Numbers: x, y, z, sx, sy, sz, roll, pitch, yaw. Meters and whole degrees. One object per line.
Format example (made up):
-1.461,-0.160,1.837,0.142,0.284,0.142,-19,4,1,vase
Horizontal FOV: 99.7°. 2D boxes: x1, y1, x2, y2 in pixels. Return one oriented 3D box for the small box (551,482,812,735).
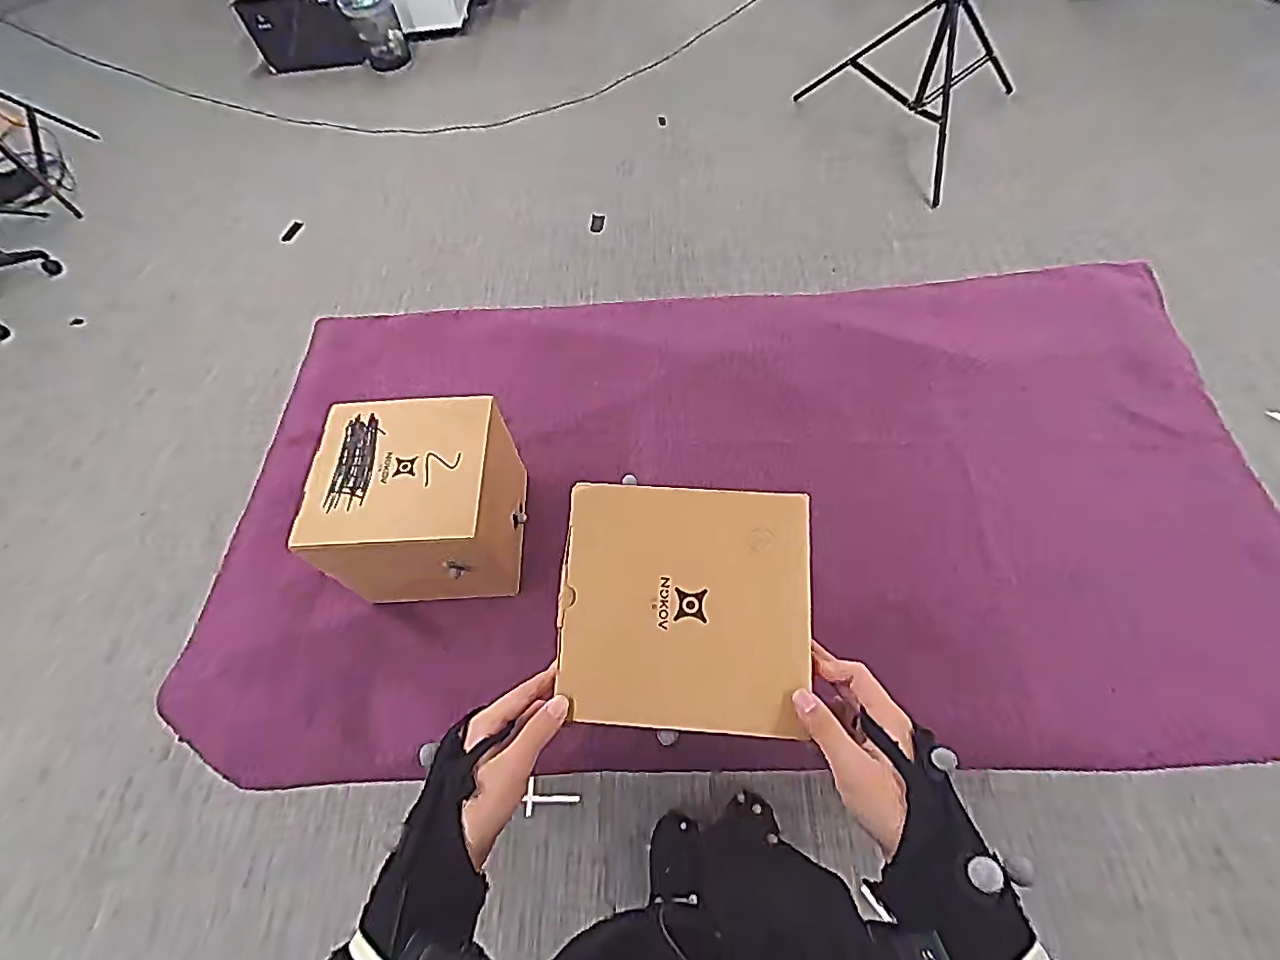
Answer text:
0.036,0.103,0.454,0.179,0.176,0.168,2,76,6,small box
